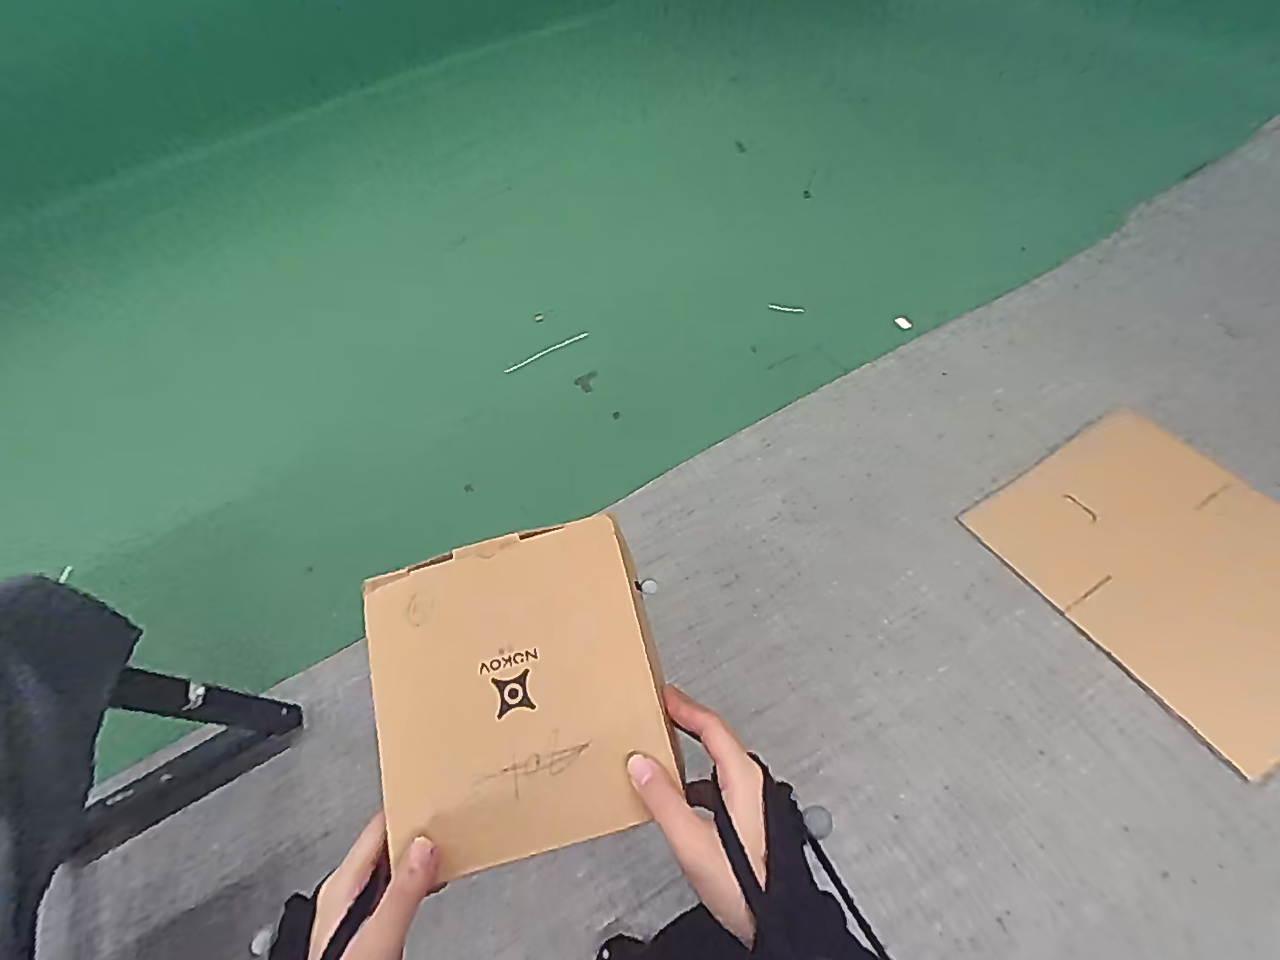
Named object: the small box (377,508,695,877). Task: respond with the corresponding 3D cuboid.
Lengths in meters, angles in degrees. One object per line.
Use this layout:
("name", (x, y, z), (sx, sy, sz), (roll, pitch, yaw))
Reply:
("small box", (-0.064, 0.140, 0.394), (0.168, 0.176, 0.179), (-15, 72, 0))
